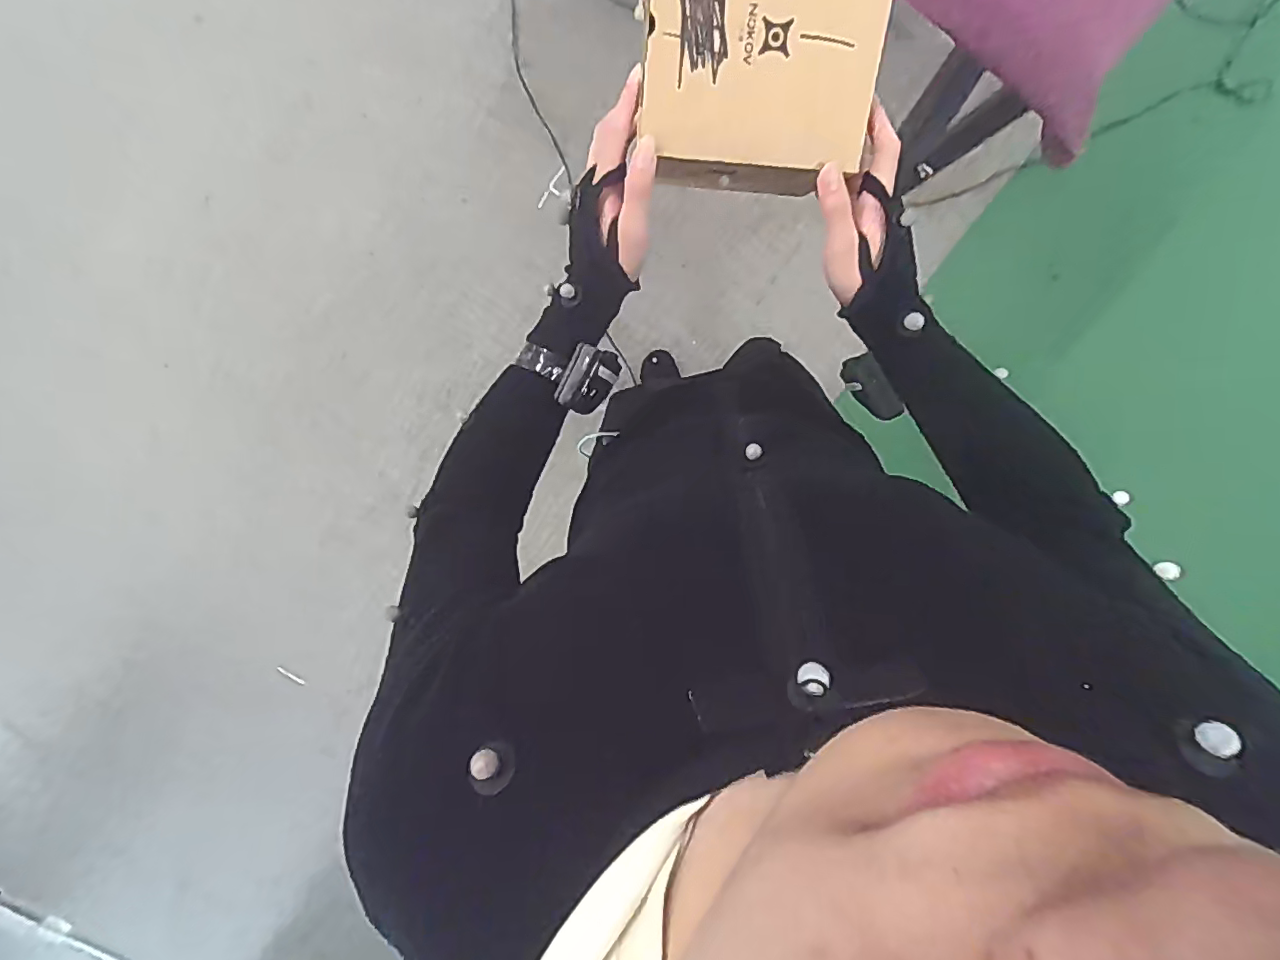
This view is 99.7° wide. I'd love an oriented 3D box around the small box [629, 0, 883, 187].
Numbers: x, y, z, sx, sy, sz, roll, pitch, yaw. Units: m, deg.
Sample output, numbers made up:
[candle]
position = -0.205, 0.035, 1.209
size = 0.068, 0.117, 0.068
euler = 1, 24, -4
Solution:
[small box]
position = 0.086, -0.356, 0.461
size = 0.179, 0.176, 0.168
euler = 4, 112, 0
